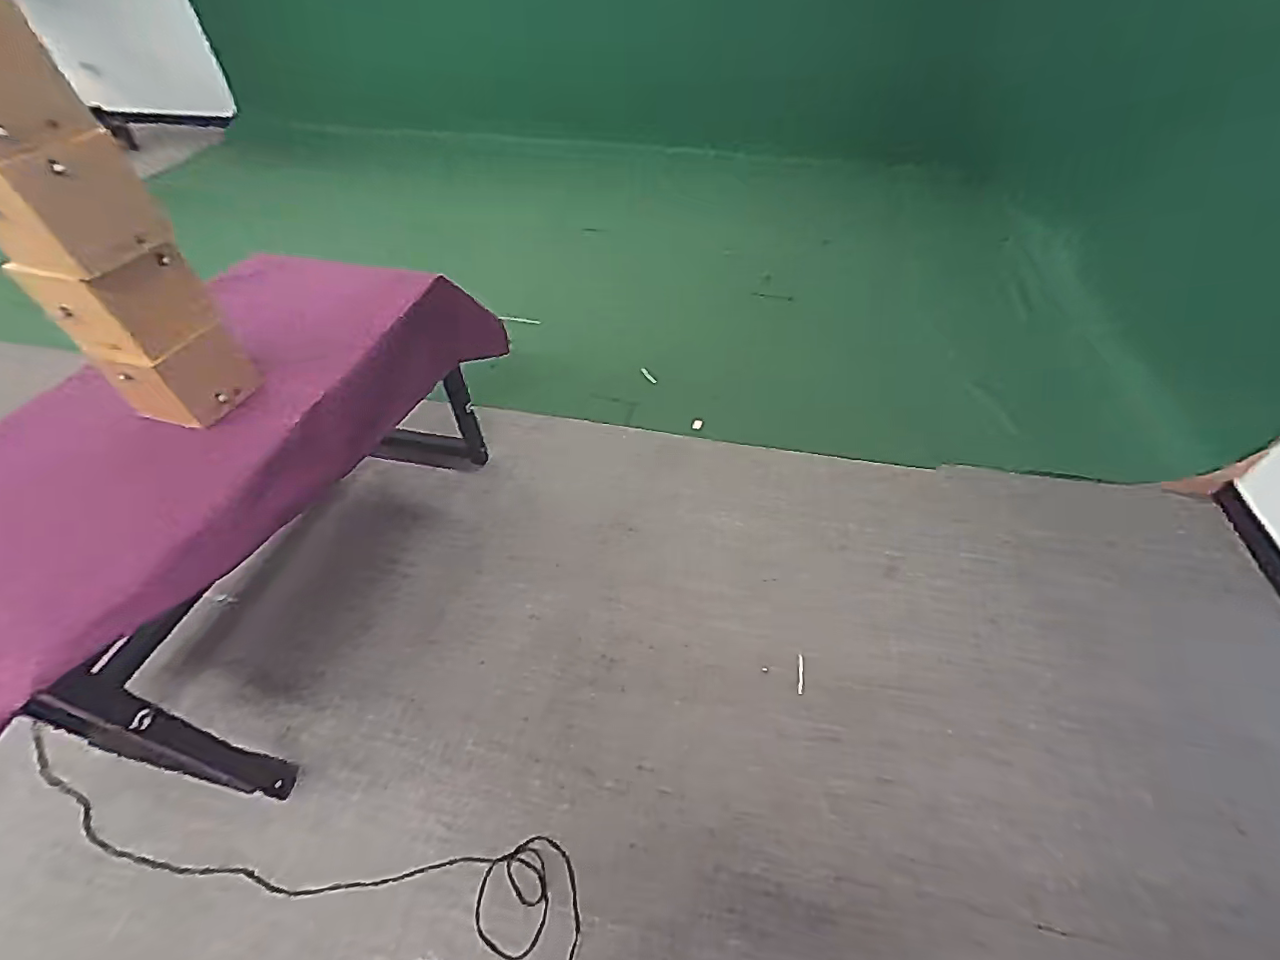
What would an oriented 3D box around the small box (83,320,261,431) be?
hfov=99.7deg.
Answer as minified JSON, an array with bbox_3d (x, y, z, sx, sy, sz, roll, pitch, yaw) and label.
[{"bbox_3d":[-0.936,-0.222,1.100,0.179,0.176,0.168,13,51,12],"label":"small box"}]

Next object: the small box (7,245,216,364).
[{"bbox_3d":[-0.939,-0.334,0.984,0.168,0.176,0.179,12,50,11],"label":"small box"}]

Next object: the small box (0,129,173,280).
[{"bbox_3d":[-0.919,-0.438,0.857,0.179,0.176,0.168,13,51,14],"label":"small box"}]

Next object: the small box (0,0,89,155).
[{"bbox_3d":[-0.937,-0.547,0.734,0.179,0.176,0.168,10,49,11],"label":"small box"}]
